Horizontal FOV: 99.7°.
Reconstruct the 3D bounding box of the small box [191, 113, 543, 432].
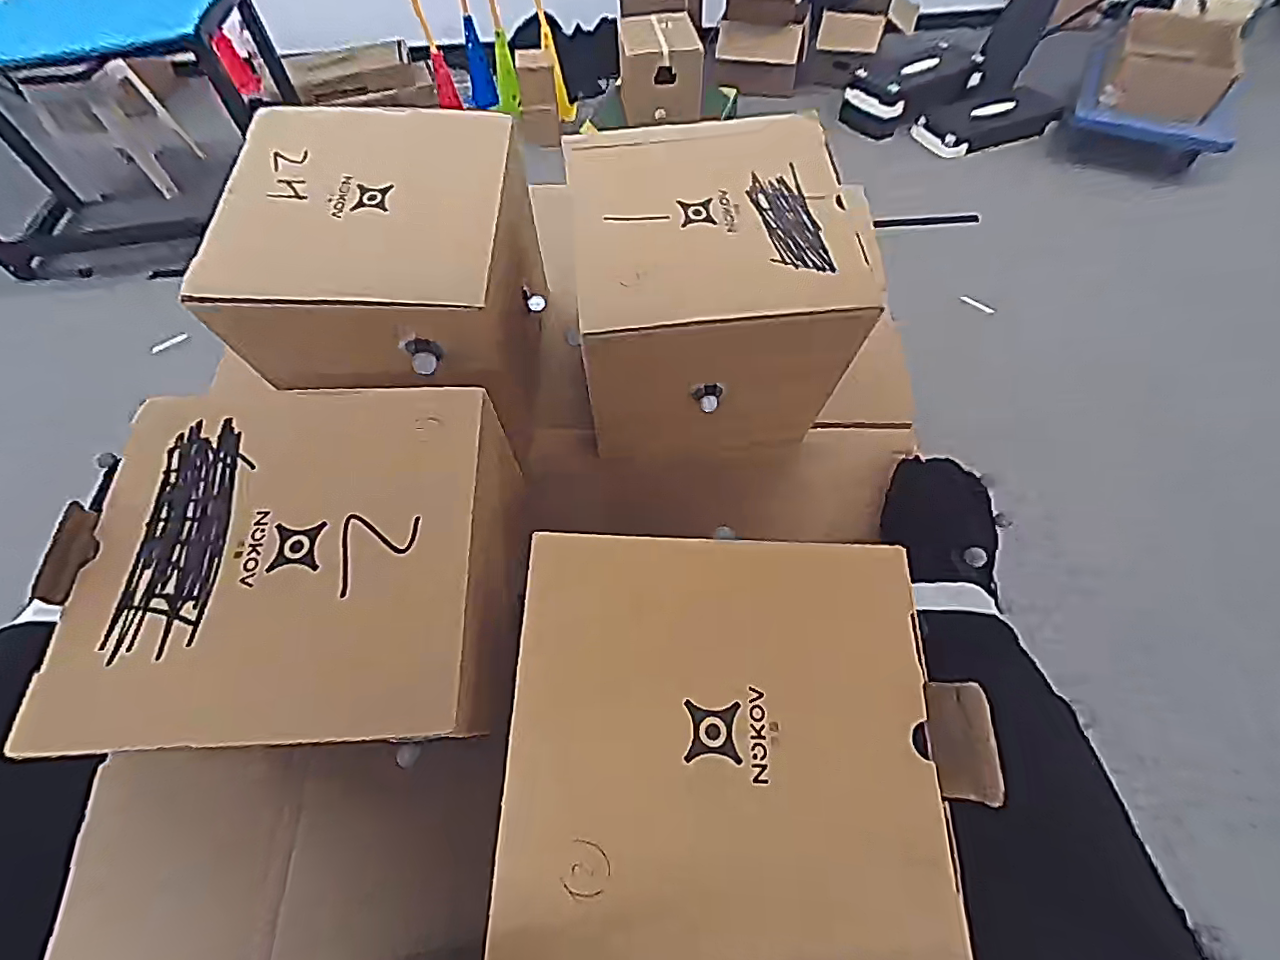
[{"bbox_3d":[-0.178,-0.147,0.422,0.179,0.176,0.168,1,67,0],"label":"small box"}]
